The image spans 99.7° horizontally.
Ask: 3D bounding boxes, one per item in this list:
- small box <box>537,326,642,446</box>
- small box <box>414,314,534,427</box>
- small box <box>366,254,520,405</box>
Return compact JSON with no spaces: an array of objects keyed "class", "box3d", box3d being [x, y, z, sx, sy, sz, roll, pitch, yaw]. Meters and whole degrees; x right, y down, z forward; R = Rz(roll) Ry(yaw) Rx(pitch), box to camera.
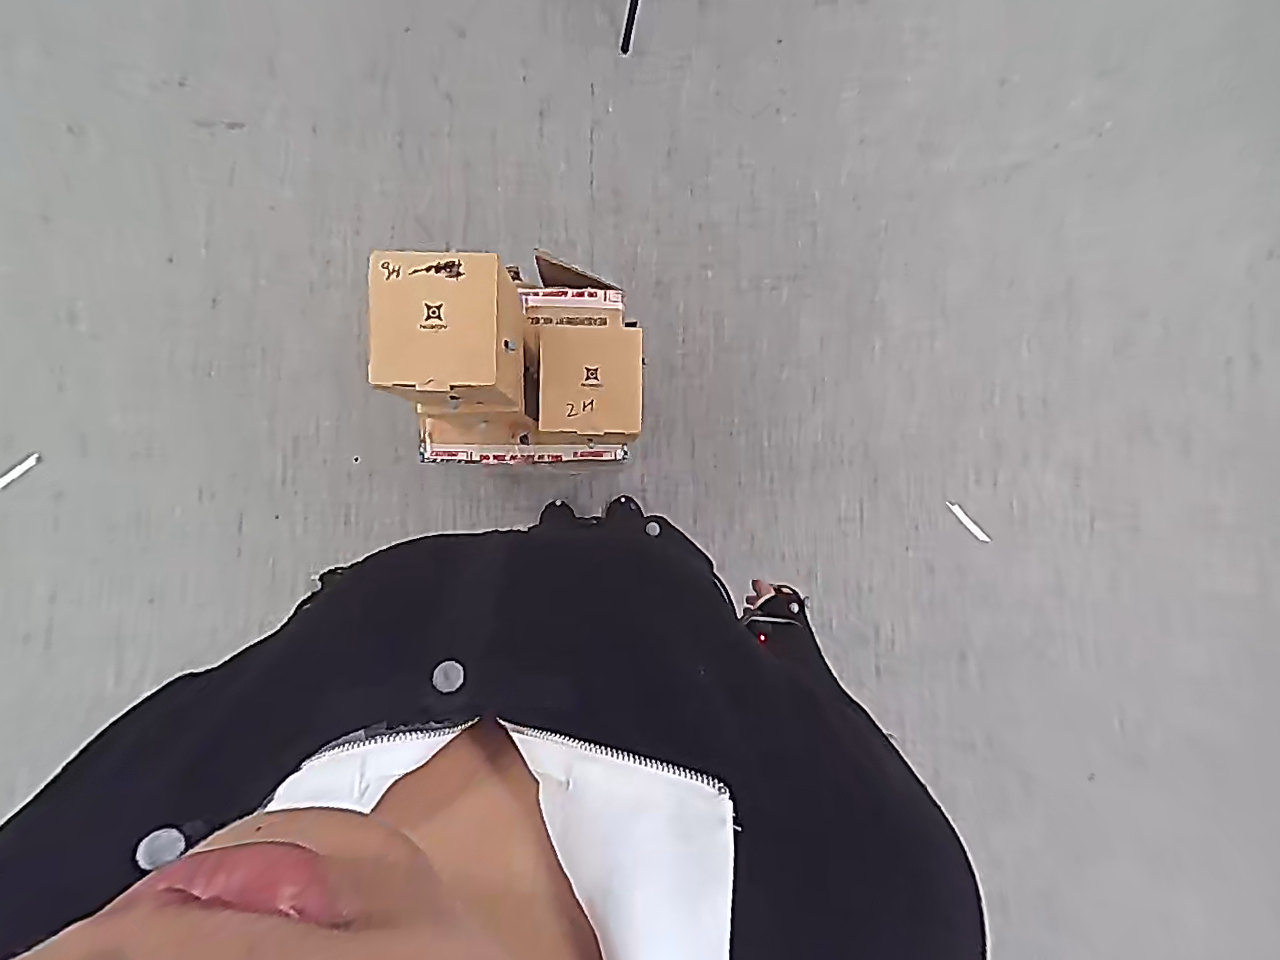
[{"class":"small box","box3d":[-0.088,-0.155,0.944,0.168,0.176,0.179,1,89,-4]},{"class":"small box","box3d":[-0.279,-0.188,0.933,0.168,0.176,0.179,-1,91,-2]},{"class":"small box","box3d":[-0.268,-0.201,0.770,0.168,0.176,0.179,1,91,-2]}]
